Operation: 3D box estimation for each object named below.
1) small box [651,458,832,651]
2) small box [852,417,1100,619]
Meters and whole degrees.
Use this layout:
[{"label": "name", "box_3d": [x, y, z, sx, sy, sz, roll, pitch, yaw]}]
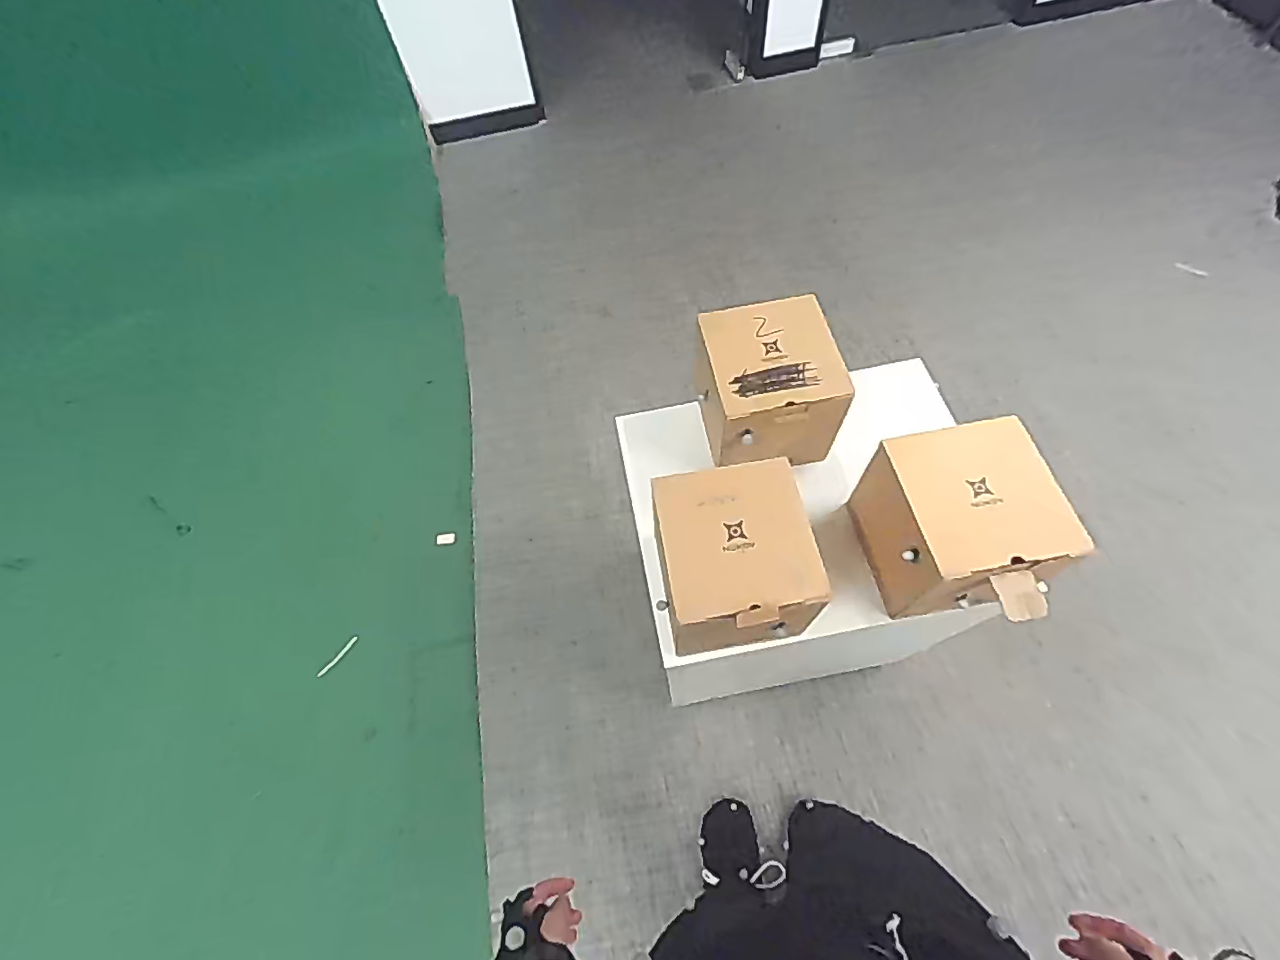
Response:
[{"label": "small box", "box_3d": [0.110, 0.100, 0.658, 0.168, 0.176, 0.179, -9, 60, -2]}, {"label": "small box", "box_3d": [0.382, 0.052, 0.660, 0.168, 0.176, 0.179, -11, 61, 0]}]
